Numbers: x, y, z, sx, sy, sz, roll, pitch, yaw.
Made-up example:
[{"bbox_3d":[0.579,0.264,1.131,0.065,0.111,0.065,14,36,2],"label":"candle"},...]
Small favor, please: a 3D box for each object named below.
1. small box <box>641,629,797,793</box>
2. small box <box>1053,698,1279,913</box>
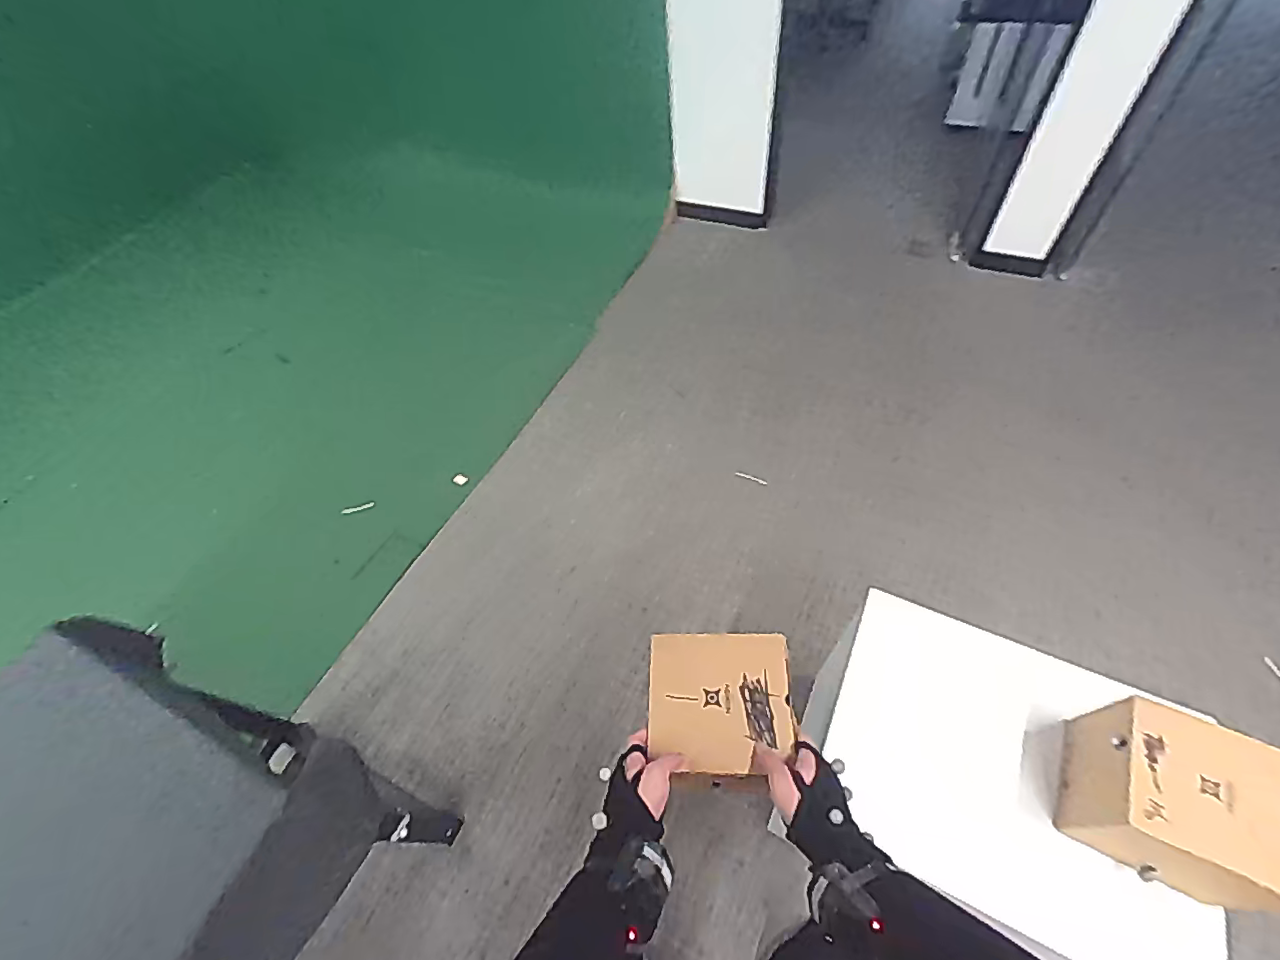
[{"bbox_3d":[0.099,0.305,0.711,0.179,0.176,0.168,-2,53,7],"label":"small box"},{"bbox_3d":[0.683,0.413,0.695,0.179,0.176,0.168,22,60,19],"label":"small box"}]
